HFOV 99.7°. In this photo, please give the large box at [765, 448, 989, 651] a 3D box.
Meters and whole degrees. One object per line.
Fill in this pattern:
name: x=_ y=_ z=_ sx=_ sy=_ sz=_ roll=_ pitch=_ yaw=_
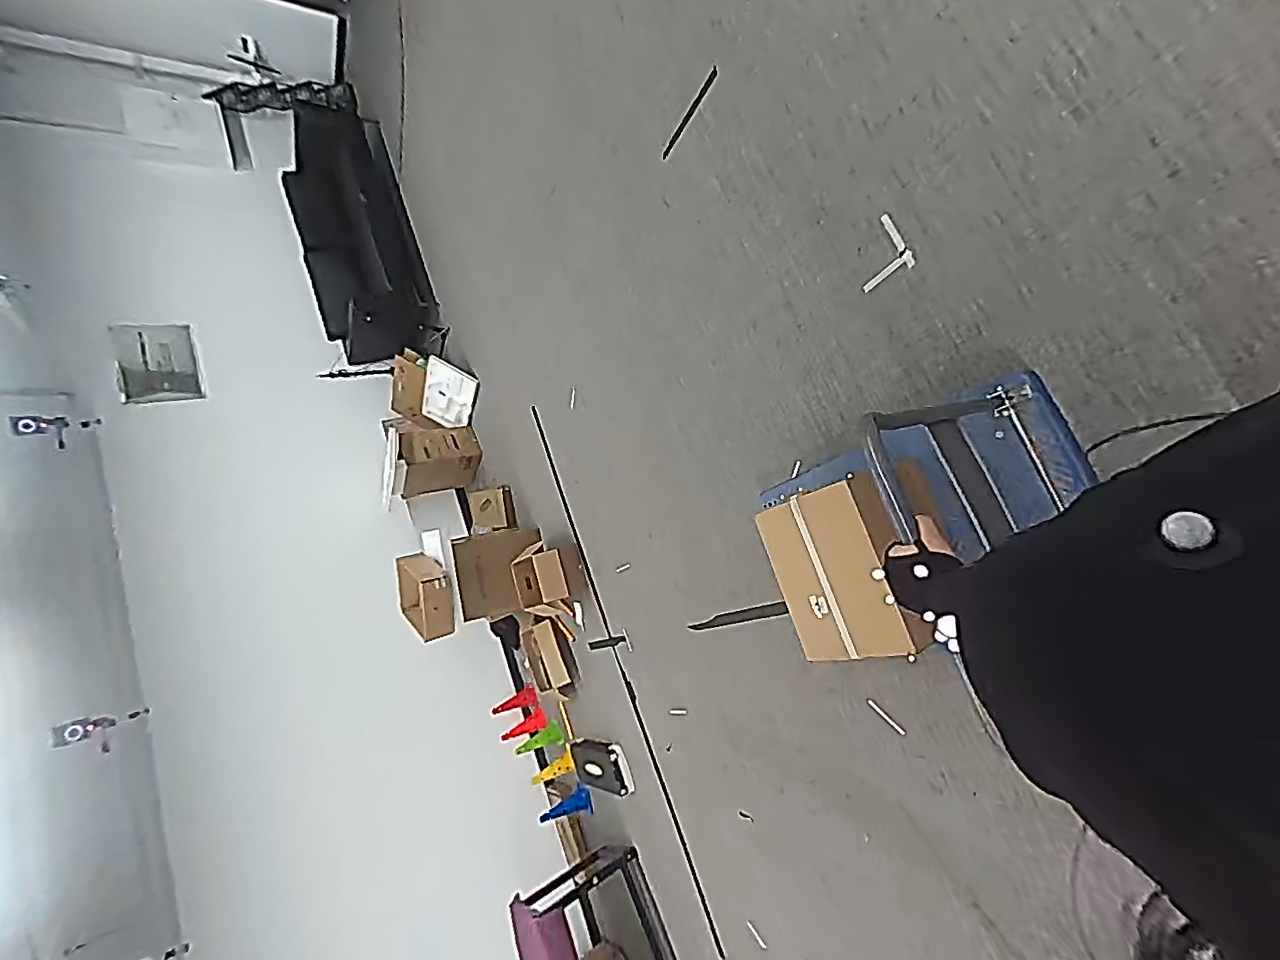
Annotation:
large box: x=0.593 y=0.176 z=1.377 sx=0.320 sy=0.320 sz=0.408 roll=-33 pitch=74 yaw=55
